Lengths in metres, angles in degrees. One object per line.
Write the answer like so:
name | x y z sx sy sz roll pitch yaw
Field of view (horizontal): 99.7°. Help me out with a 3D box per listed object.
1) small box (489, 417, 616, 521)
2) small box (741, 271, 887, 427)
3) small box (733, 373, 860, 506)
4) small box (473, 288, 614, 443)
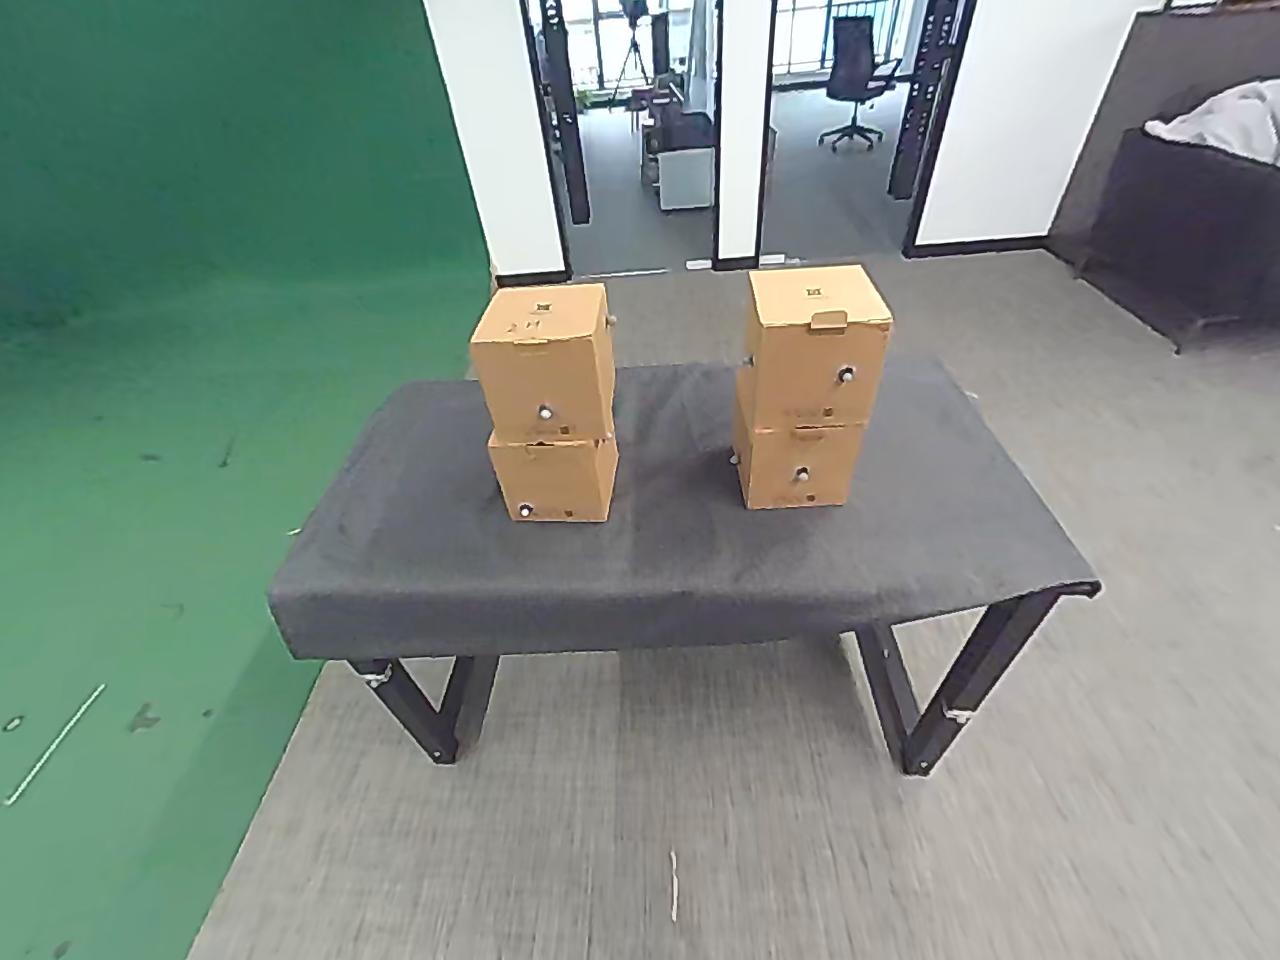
small box | -0.136 -0.045 0.924 0.168 0.176 0.179 0 41 6
small box | 0.242 -0.190 0.799 0.168 0.176 0.179 -1 41 4
small box | 0.250 -0.069 0.907 0.168 0.176 0.179 -3 42 3
small box | -0.132 -0.174 0.820 0.168 0.176 0.179 -2 42 5
